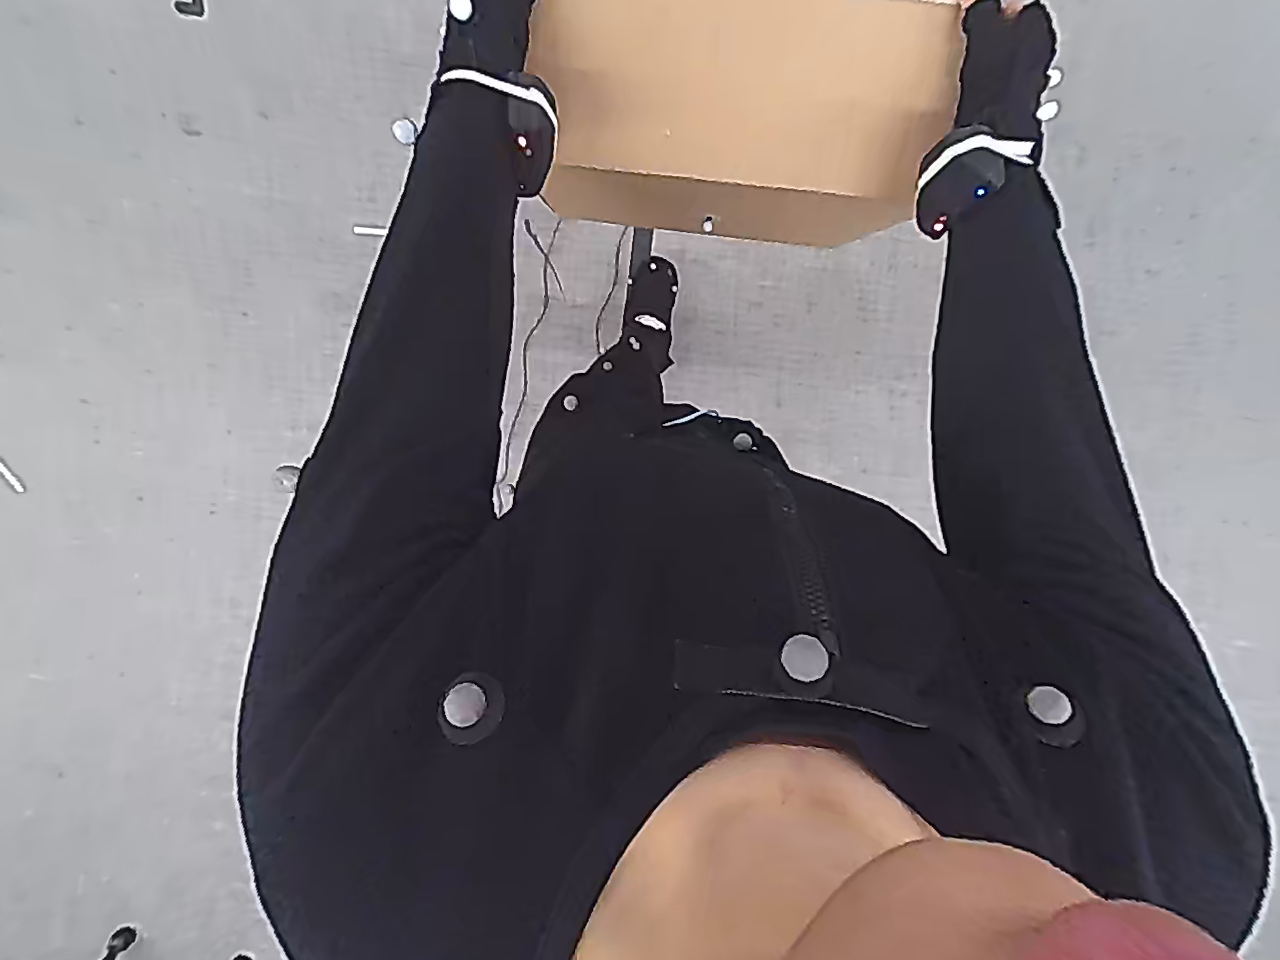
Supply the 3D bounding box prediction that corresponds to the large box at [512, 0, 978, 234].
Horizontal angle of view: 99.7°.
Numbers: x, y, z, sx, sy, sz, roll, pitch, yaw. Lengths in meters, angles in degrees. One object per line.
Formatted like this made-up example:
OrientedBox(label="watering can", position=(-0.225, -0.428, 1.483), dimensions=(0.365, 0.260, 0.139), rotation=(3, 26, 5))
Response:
OrientedBox(label="large box", position=(0.095, -0.471, 0.599), dimensions=(0.408, 0.320, 0.320), rotation=(6, 106, -1))
